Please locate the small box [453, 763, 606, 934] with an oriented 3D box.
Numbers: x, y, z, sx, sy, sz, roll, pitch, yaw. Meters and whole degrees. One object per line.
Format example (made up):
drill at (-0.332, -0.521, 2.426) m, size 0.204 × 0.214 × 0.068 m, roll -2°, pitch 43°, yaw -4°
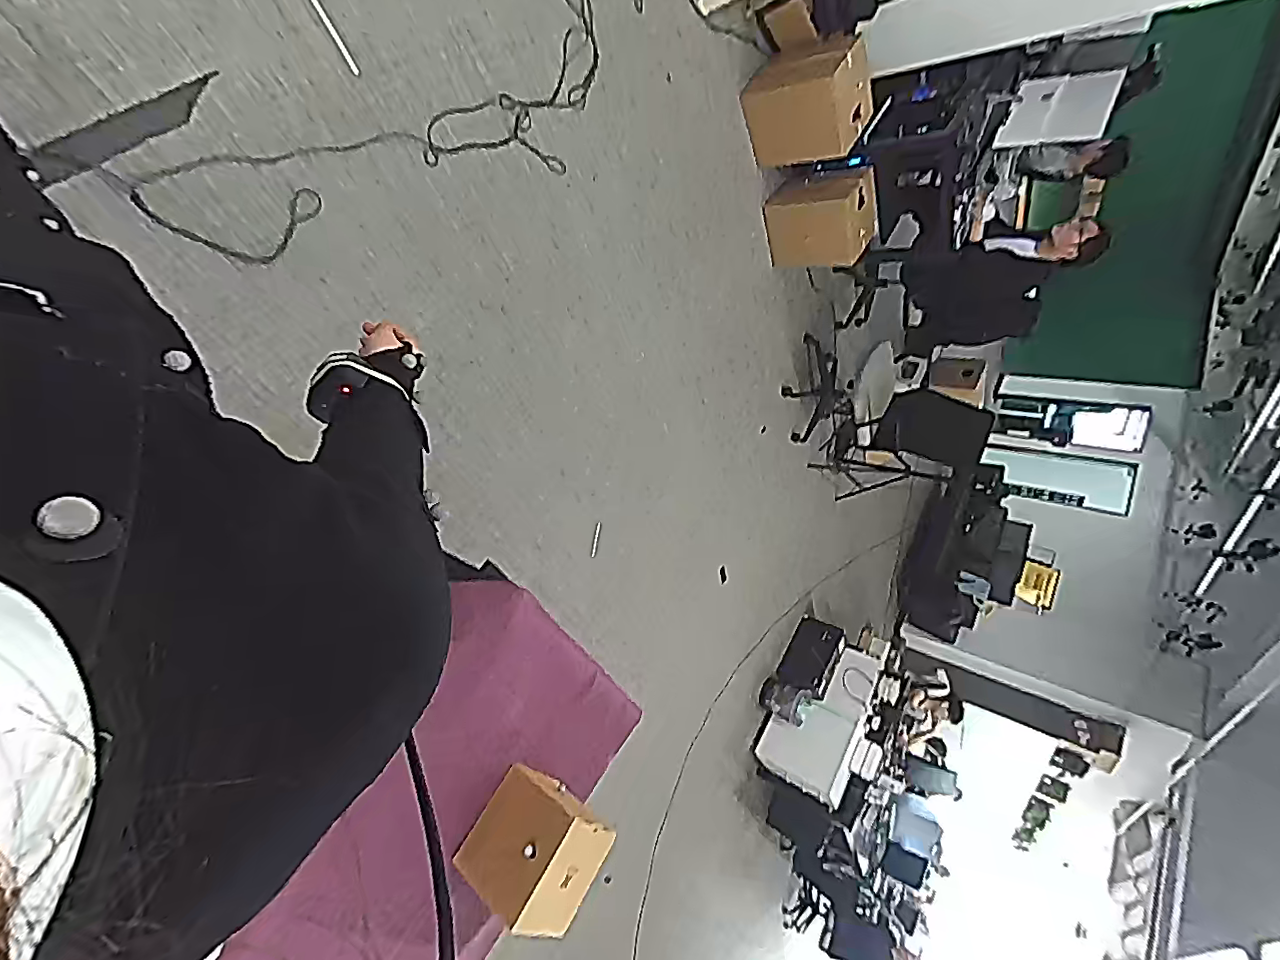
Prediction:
small box at (-0.198, 0.641, 0.949) m, size 0.179 × 0.176 × 0.168 m, roll -55°, pitch 139°, yaw -23°
